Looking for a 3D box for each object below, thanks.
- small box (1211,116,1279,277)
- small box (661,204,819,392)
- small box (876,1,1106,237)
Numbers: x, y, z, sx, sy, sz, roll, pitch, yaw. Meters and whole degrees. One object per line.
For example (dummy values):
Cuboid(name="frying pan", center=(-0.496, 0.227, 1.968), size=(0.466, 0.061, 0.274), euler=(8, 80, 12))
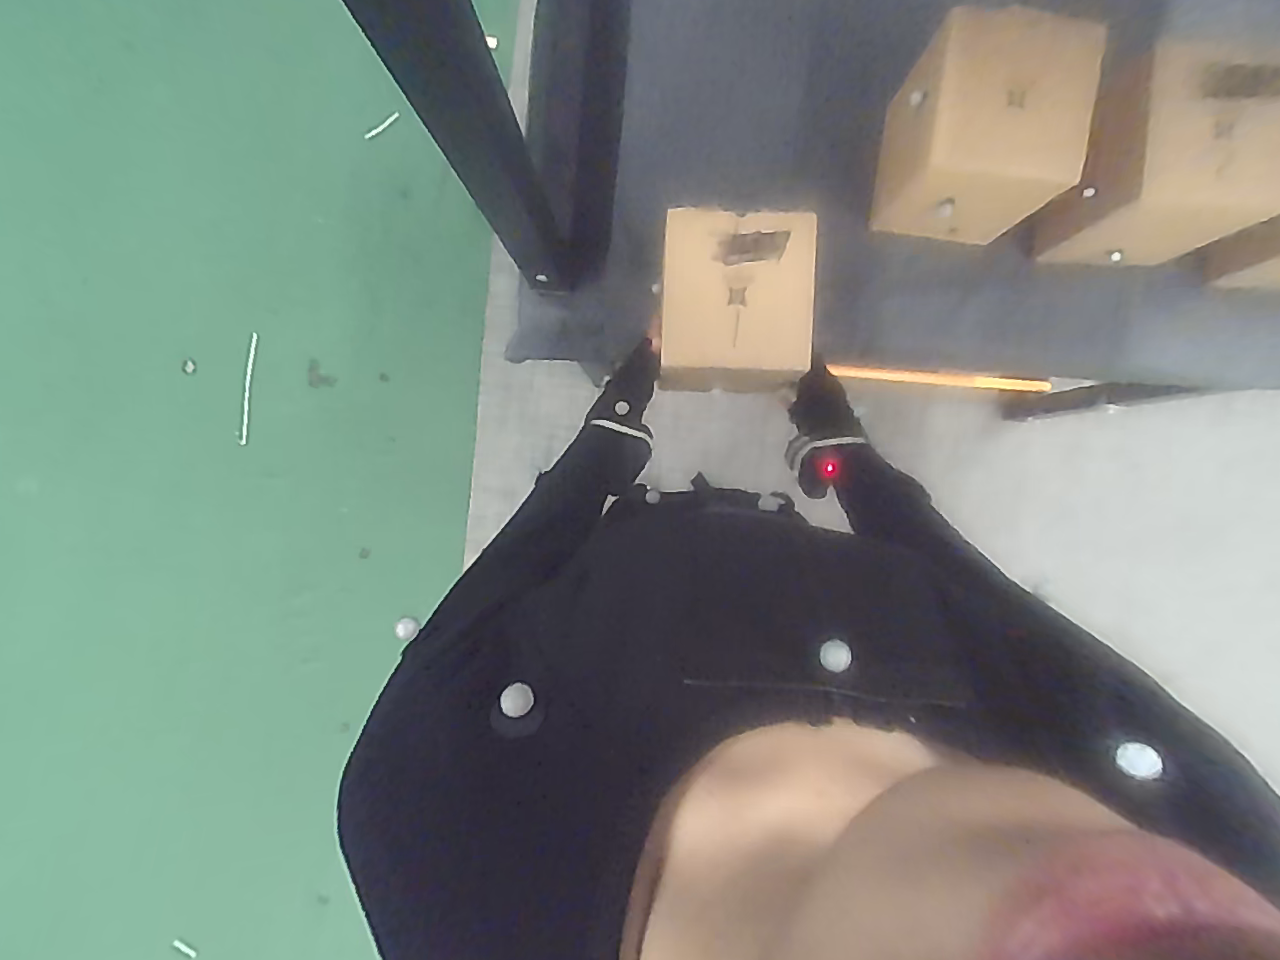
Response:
Cuboid(name="small box", center=(0.853, -0.353, 0.649), size=(0.168, 0.176, 0.179), euler=(3, 90, 2))
Cuboid(name="small box", center=(0.112, -0.213, 0.672), size=(0.168, 0.176, 0.179), euler=(2, 91, 2))
Cuboid(name="small box", center=(0.411, -0.425, 0.666), size=(0.168, 0.176, 0.179), euler=(9, 91, 2))
